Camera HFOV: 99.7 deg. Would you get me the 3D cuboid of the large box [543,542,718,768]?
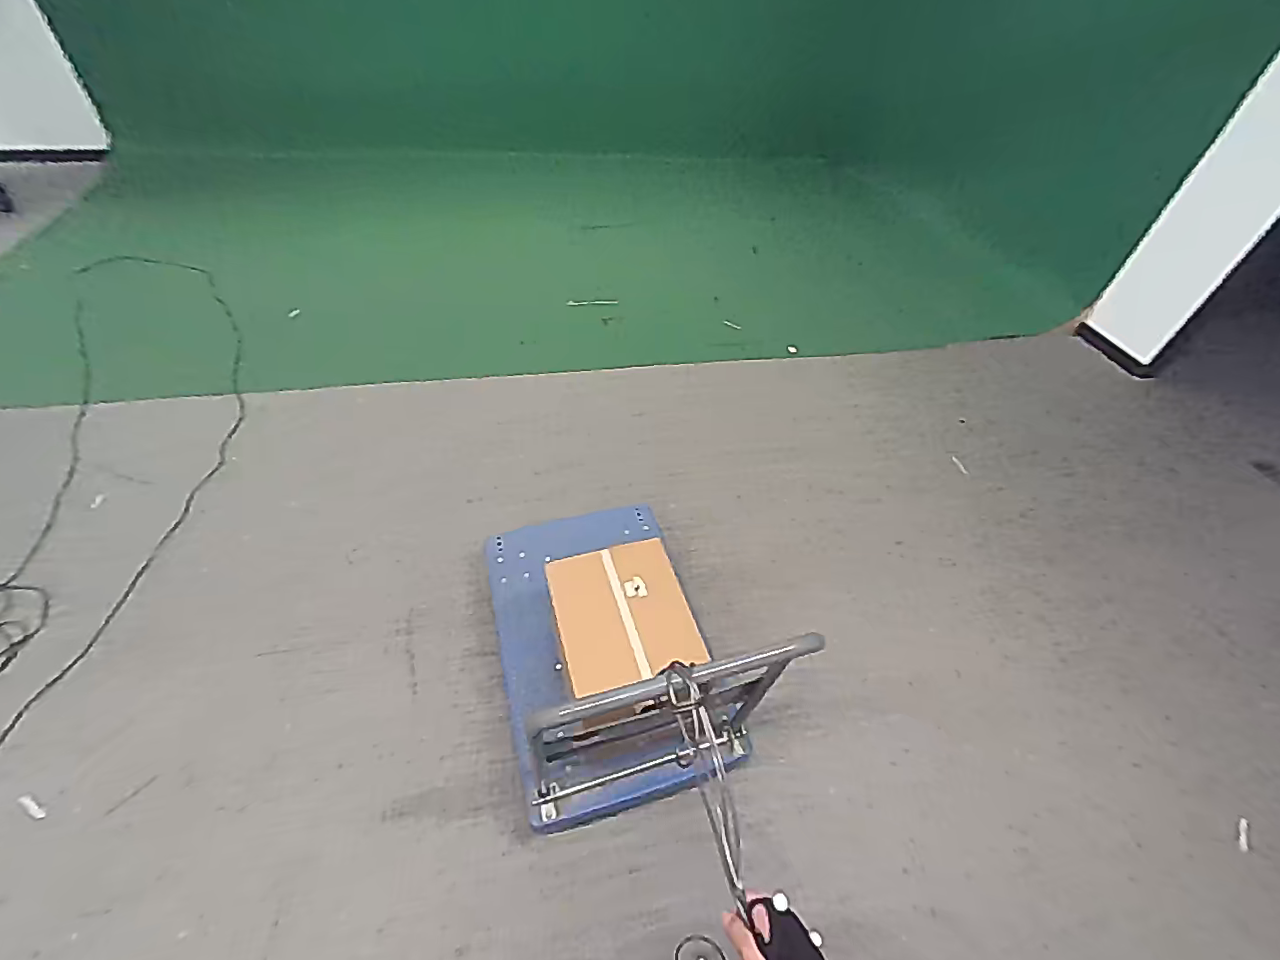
[{"bbox_3d":[-0.041,0.432,1.366,0.320,0.320,0.408,-11,48,-15],"label":"large box"}]
